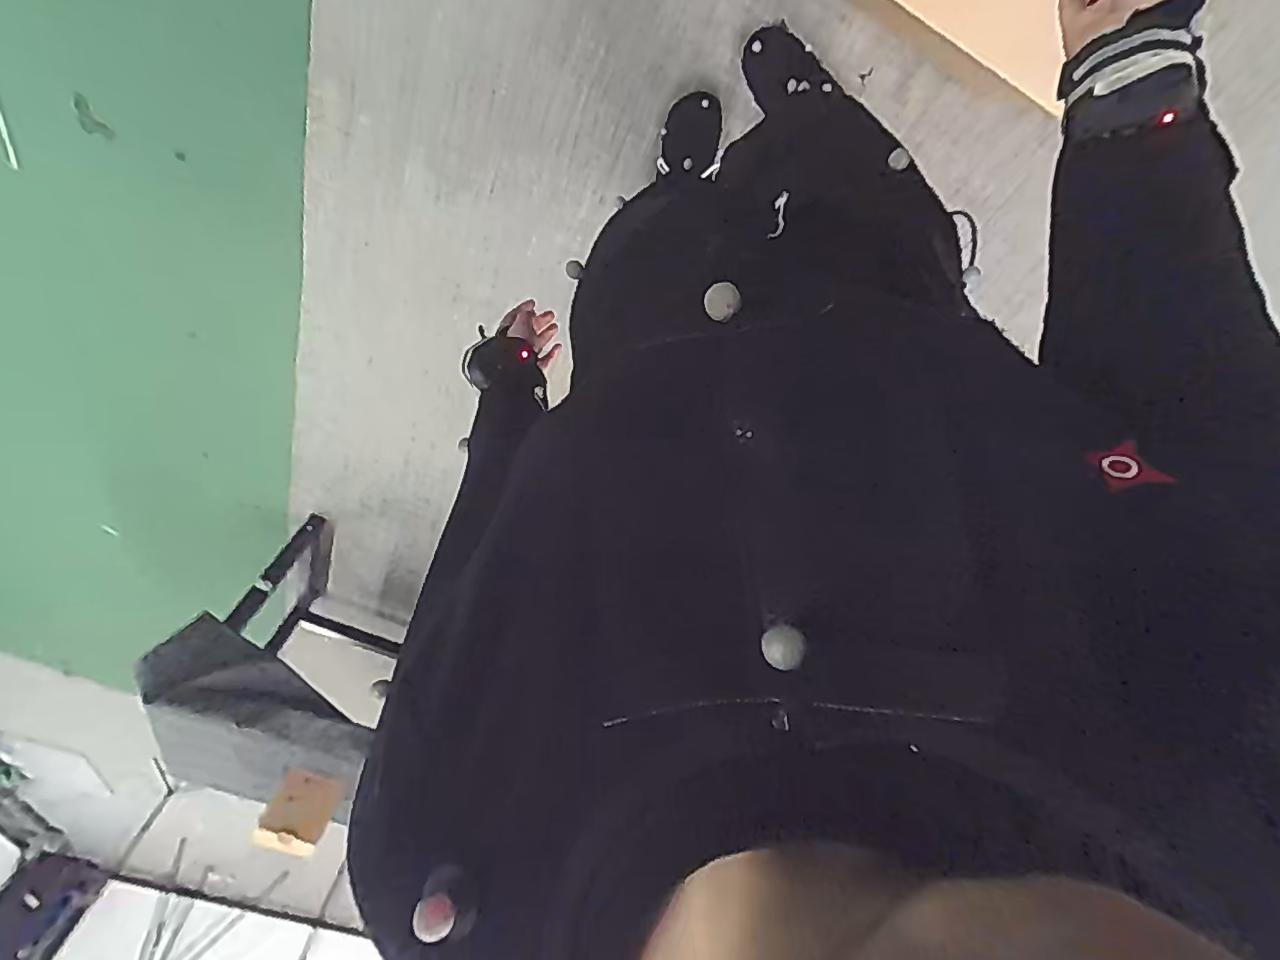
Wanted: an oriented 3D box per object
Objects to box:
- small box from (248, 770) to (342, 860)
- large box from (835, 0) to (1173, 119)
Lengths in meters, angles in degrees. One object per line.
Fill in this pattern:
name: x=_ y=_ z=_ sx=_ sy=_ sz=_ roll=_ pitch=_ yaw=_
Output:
small box: x=-0.988 y=0.962 z=1.556 sx=0.168 sy=0.176 sz=0.179 roll=28 pitch=130 yaw=-12
large box: x=0.491 y=-0.765 z=0.724 sx=0.408 sy=0.320 sz=0.320 roll=23 pitch=130 yaw=-12
